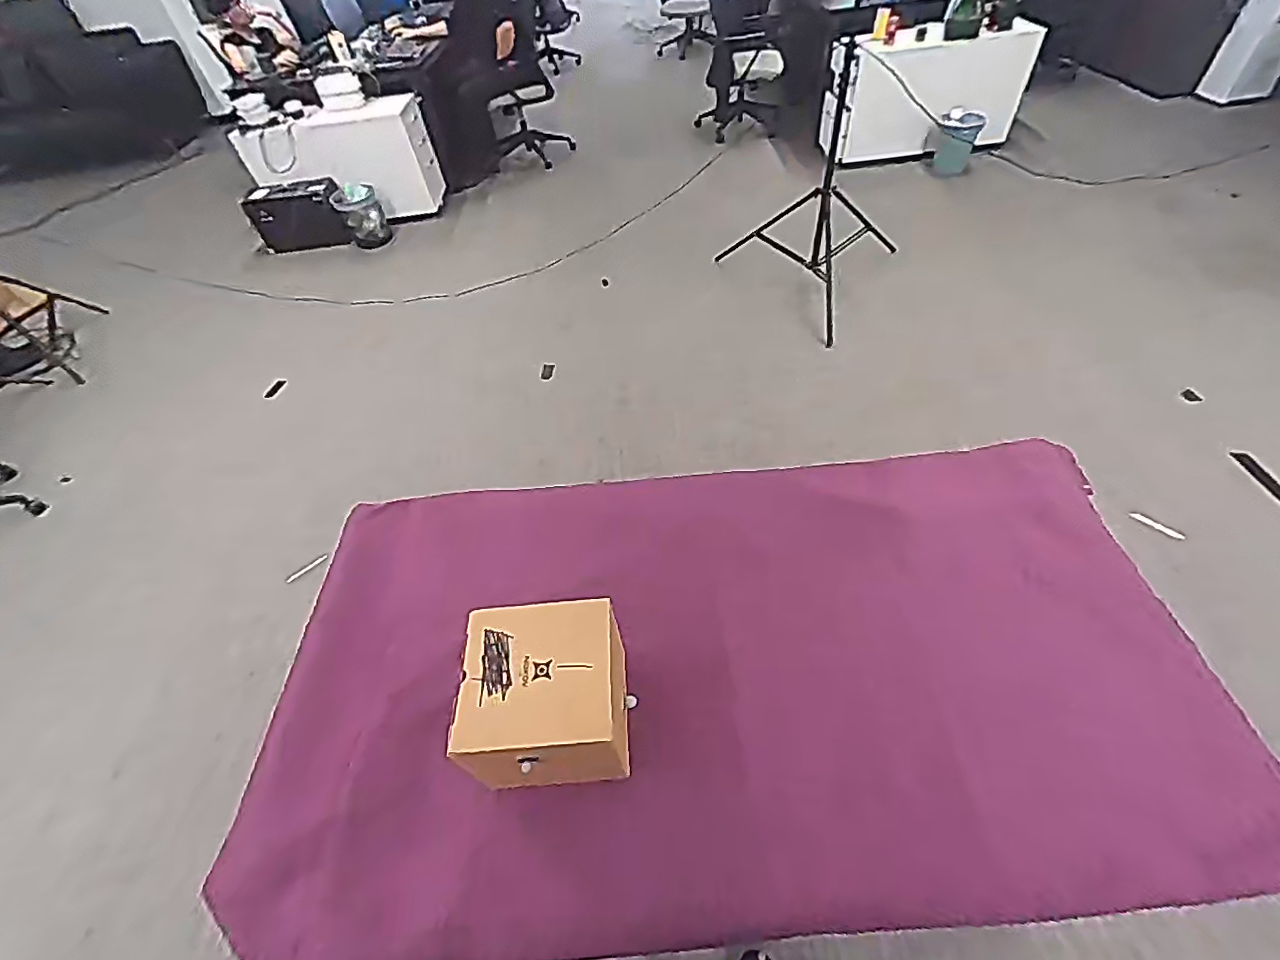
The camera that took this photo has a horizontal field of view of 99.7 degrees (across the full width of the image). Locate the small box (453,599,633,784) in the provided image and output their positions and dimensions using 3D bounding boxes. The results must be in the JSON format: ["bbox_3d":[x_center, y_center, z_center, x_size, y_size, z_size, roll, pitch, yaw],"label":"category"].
[{"bbox_3d":[-0.107,0.267,0.673,0.179,0.176,0.168,-5,50,2],"label":"small box"}]
